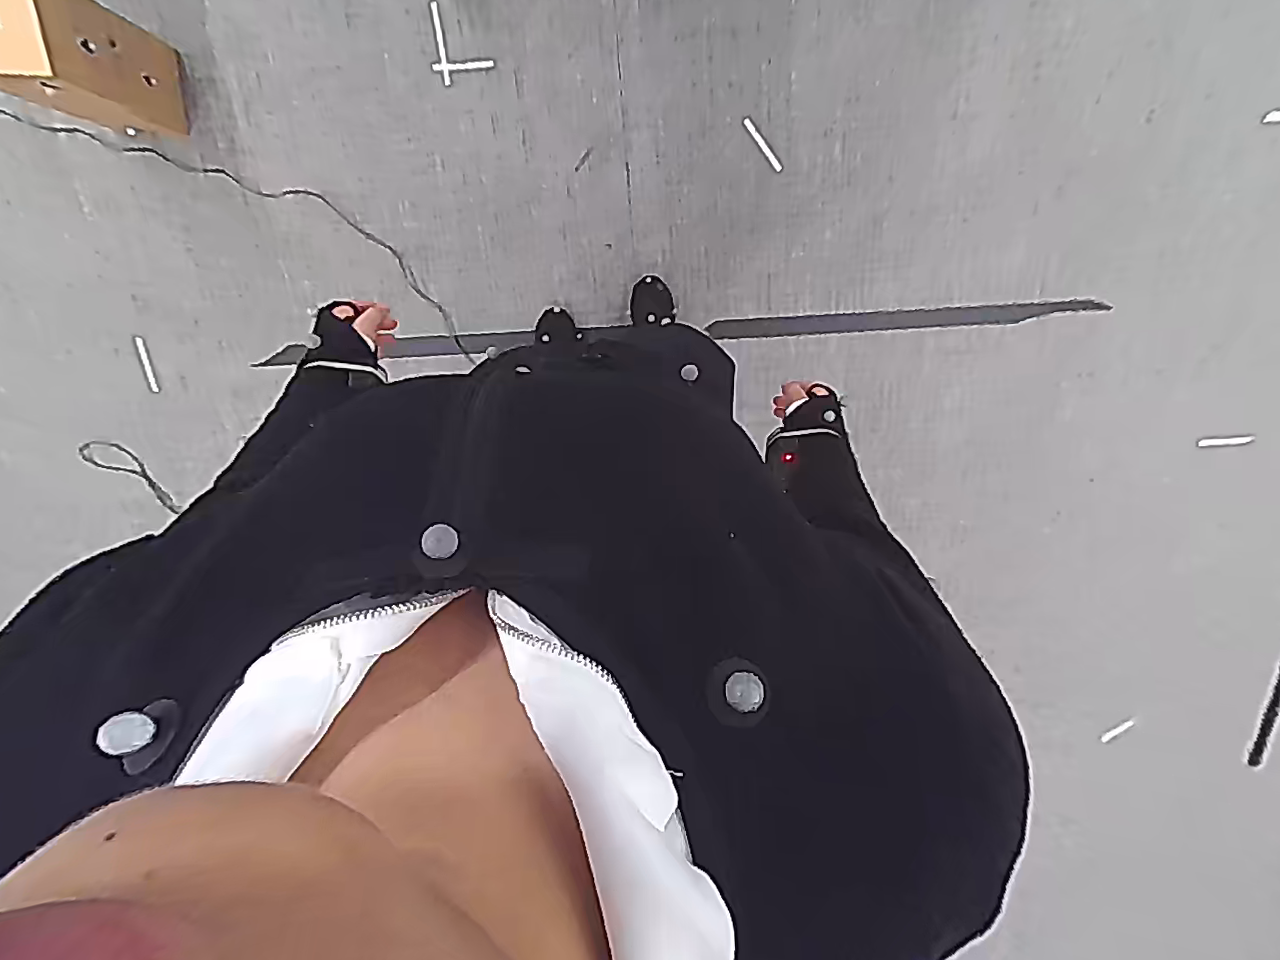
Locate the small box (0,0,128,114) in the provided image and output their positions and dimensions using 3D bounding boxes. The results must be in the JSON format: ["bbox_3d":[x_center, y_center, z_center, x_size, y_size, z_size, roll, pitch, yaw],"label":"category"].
[{"bbox_3d":[-1.082,-0.784,0.973,0.179,0.176,0.168,1,106,-2],"label":"small box"}]

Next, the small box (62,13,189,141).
[{"bbox_3d":[-1.097,-0.838,1.128,0.168,0.176,0.179,4,108,-3],"label":"small box"}]
